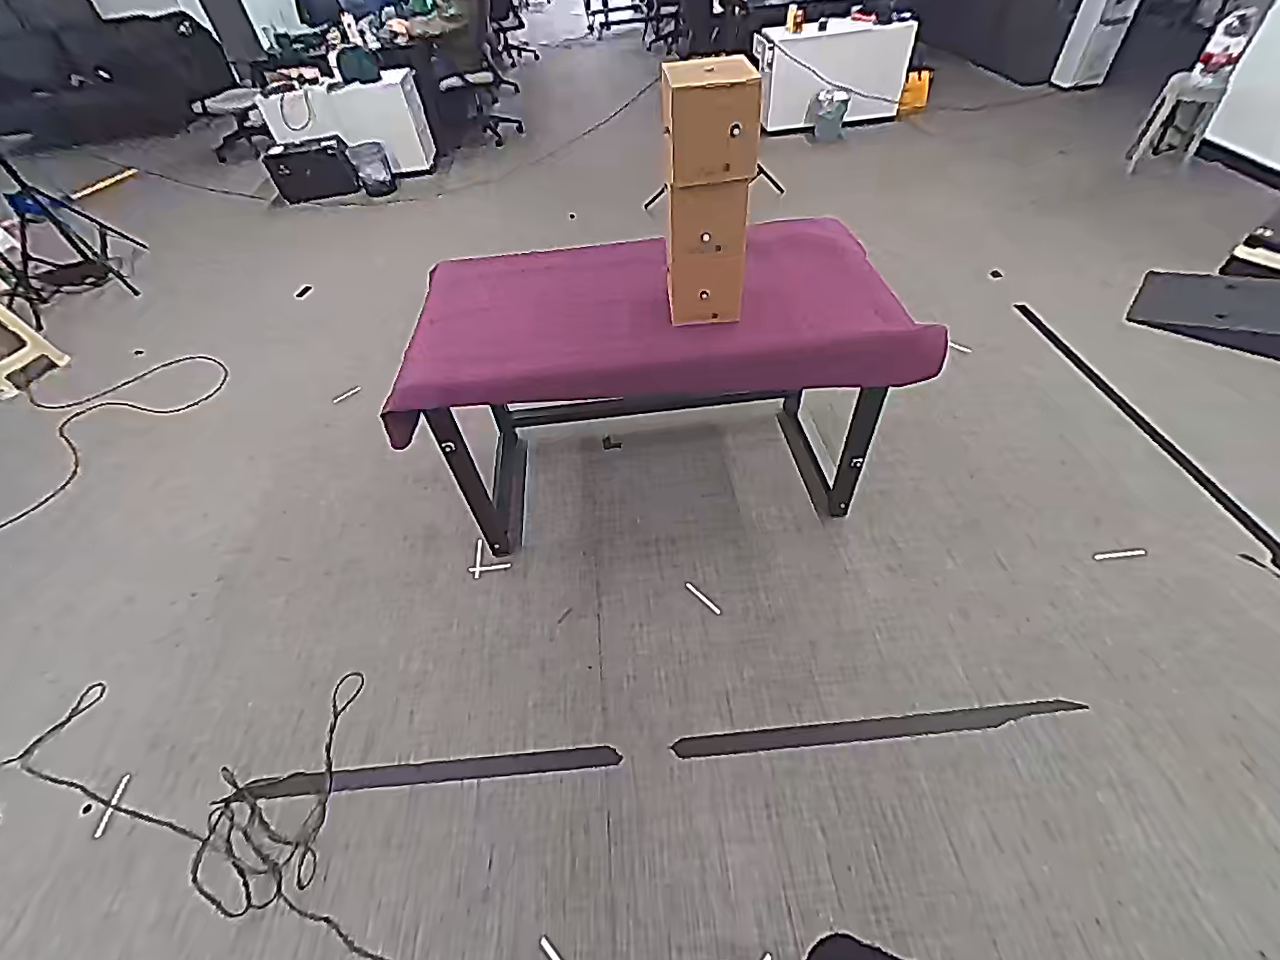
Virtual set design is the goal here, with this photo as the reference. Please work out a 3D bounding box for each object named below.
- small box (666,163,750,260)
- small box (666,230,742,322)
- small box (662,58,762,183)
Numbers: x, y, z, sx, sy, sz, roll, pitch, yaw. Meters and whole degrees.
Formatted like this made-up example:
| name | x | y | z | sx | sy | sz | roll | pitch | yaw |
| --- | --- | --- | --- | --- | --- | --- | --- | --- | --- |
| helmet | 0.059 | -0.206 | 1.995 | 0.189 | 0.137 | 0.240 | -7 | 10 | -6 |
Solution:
| name | x | y | z | sx | sy | sz | roll | pitch | yaw |
| --- | --- | --- | --- | --- | --- | --- | --- | --- | --- |
| small box | 0.144 | -0.611 | 1.200 | 0.168 | 0.176 | 0.179 | -4 | 49 | 2 |
| small box | 0.153 | -0.500 | 1.321 | 0.168 | 0.176 | 0.179 | -4 | 48 | 2 |
| small box | 0.136 | -0.701 | 1.064 | 0.168 | 0.176 | 0.179 | -6 | 48 | -1 |
